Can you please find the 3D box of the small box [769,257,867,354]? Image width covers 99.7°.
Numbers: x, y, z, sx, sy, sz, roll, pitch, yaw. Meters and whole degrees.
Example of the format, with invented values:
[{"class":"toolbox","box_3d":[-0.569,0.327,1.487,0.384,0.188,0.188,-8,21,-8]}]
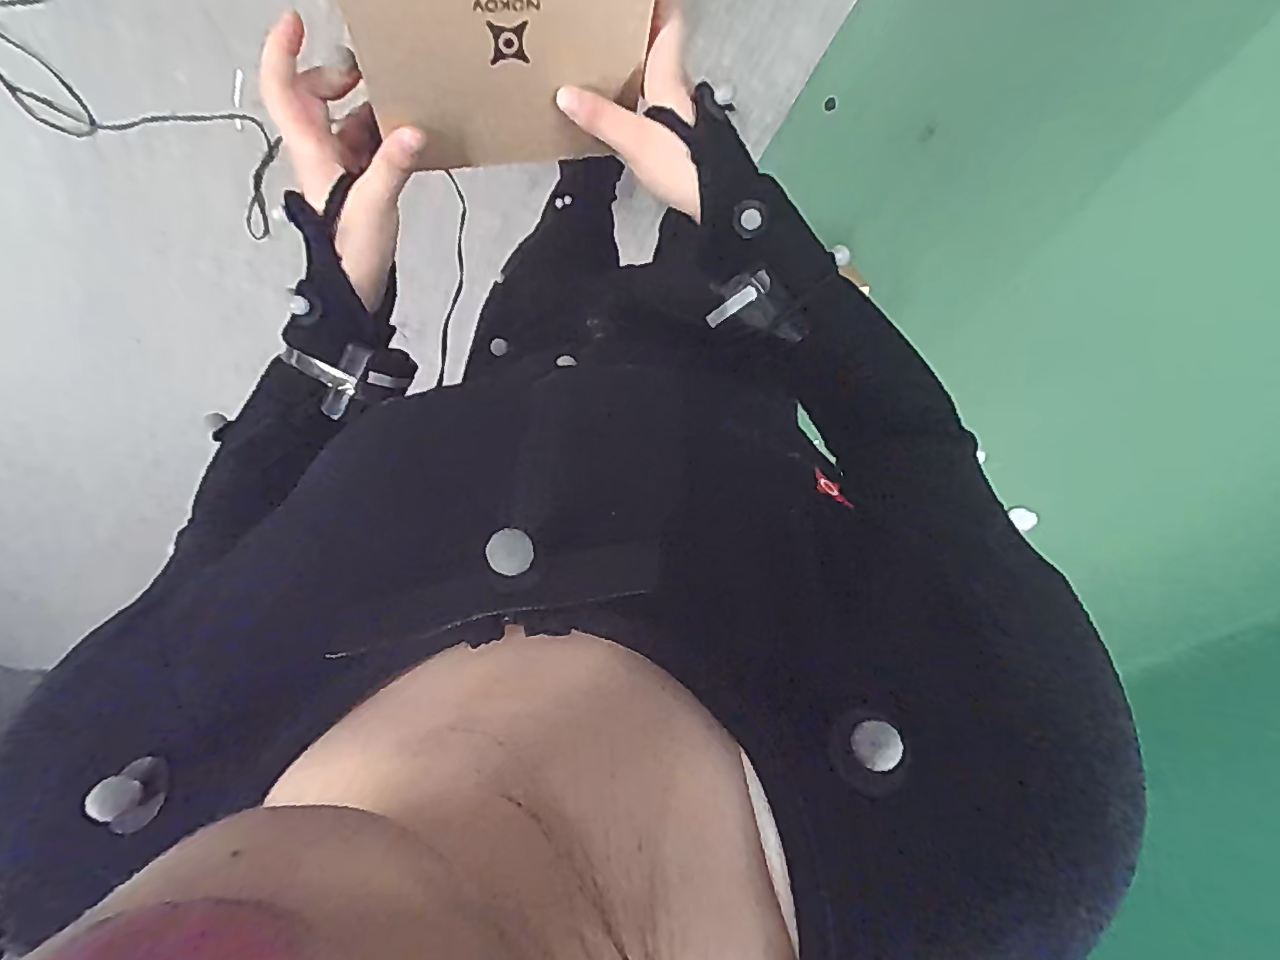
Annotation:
[{"class":"small box","box_3d":[0.424,-0.428,1.319,0.179,0.176,0.168,-4,135,2]}]
